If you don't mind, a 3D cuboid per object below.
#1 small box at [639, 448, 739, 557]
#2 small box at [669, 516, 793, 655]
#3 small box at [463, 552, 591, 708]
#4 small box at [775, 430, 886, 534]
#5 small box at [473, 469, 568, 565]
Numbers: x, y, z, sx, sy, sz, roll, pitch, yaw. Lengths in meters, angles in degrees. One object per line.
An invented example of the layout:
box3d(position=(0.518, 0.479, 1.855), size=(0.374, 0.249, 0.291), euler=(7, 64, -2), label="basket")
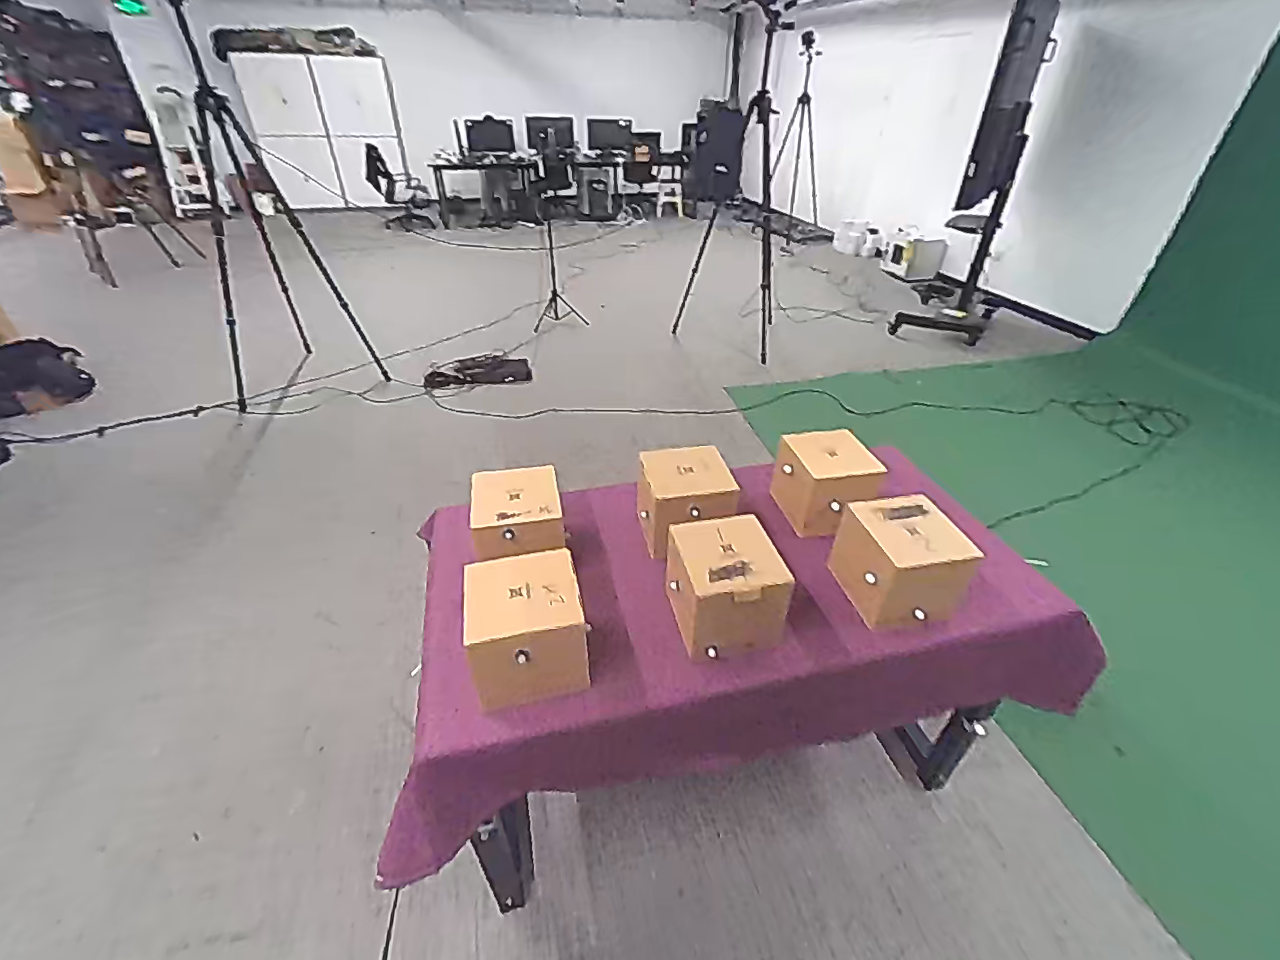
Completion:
box3d(position=(0.098, 0.050, 1.161), size=(0.179, 0.176, 0.168), euler=(-6, 37, -9), label="small box")
box3d(position=(0.151, 0.190, 0.961), size=(0.168, 0.176, 0.179), euler=(-7, 35, -10), label="small box")
box3d(position=(-0.181, 0.245, 0.883), size=(0.179, 0.176, 0.168), euler=(-8, 36, -11), label="small box")
box3d(position=(0.418, 0.008, 1.218), size=(0.168, 0.176, 0.179), euler=(-7, 35, -8), label="small box")
box3d(position=(-0.237, 0.099, 1.089), size=(0.168, 0.176, 0.179), euler=(-7, 36, -10), label="small box")
